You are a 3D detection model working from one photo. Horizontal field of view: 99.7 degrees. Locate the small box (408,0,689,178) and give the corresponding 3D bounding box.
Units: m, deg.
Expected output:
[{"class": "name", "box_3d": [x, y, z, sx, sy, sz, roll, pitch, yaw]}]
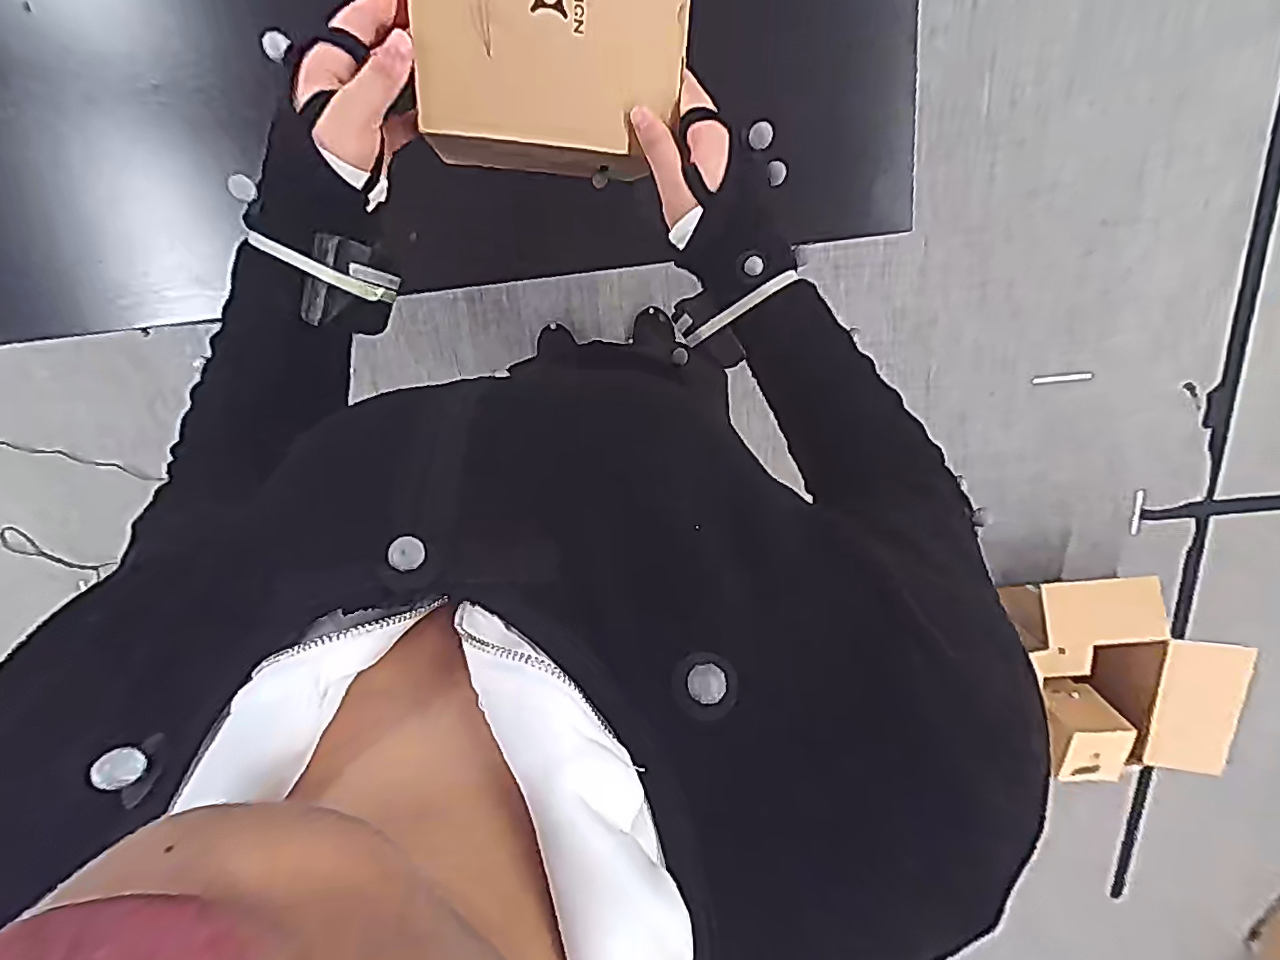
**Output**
[{"class": "small box", "box_3d": [-0.070, -0.333, 0.405, 0.179, 0.176, 0.168, -1, 113, -13]}]
